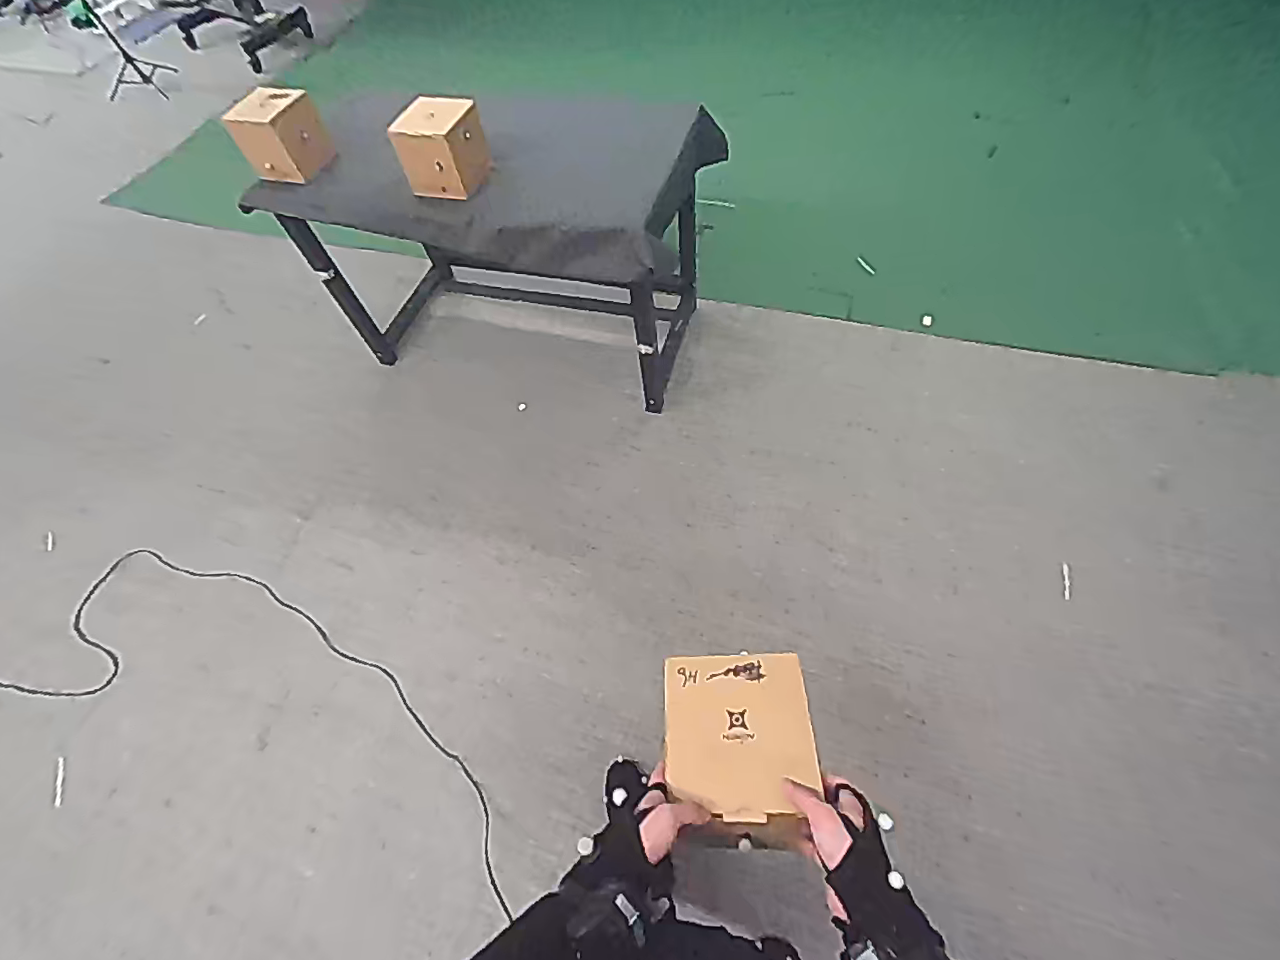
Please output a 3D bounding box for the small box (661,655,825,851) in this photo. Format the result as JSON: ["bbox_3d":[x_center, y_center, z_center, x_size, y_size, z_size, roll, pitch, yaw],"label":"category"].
[{"bbox_3d":[0.118,0.330,0.649,0.168,0.176,0.179,-4,46,7],"label":"small box"}]

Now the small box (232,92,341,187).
[{"bbox_3d":[-0.999,-0.976,1.552,0.168,0.176,0.179,13,61,13],"label":"small box"}]

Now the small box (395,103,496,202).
[{"bbox_3d":[-0.503,-0.864,1.432,0.168,0.176,0.179,13,59,12],"label":"small box"}]
